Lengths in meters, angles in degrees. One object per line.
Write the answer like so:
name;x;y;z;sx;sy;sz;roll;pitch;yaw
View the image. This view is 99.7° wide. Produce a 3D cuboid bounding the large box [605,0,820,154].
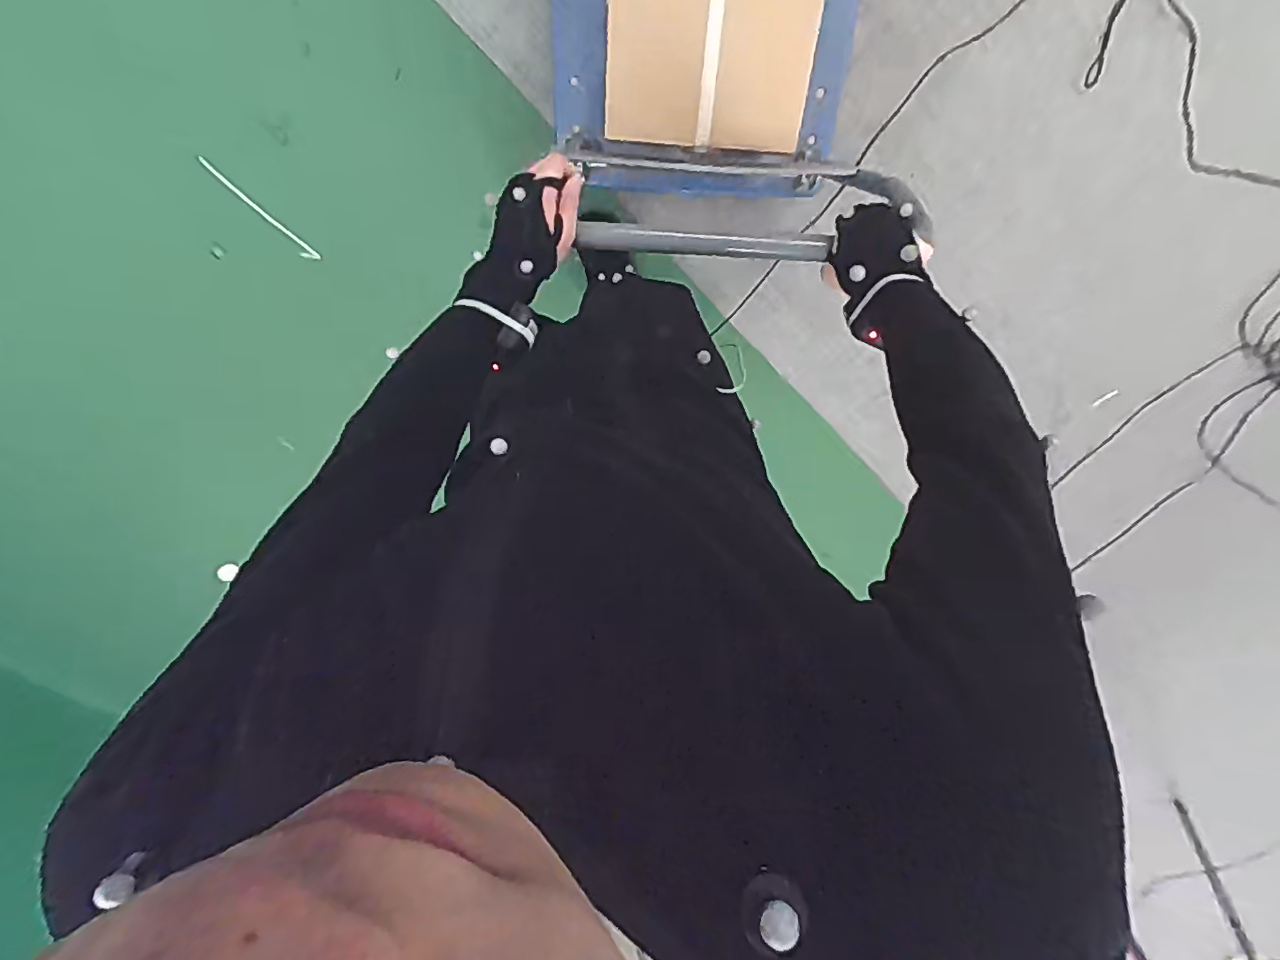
large box;0.114;-0.784;0.901;0.320;0.320;0.408;4;120;-1
